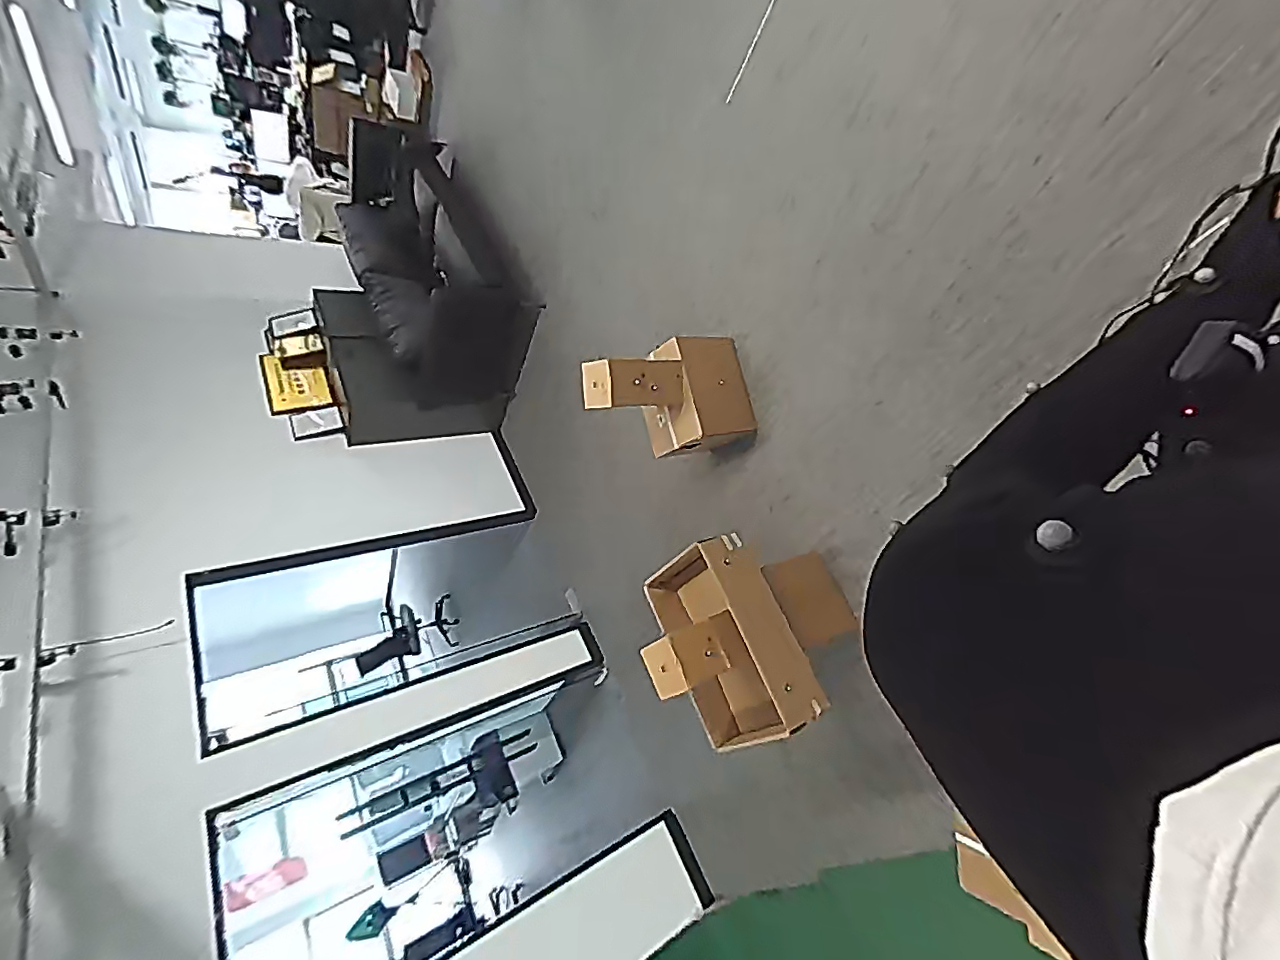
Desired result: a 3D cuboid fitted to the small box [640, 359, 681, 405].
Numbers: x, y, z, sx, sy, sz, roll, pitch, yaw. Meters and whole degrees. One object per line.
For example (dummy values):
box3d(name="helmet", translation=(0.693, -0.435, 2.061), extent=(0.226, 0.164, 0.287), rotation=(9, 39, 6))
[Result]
box3d(name="small box", translation=(0.037, -0.368, 2.042), extent=(0.179, 0.176, 0.168), rotation=(9, 105, 52))

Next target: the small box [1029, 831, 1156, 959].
box3d(name="small box", translation=(0.926, 0.873, 1.108), extent=(0.168, 0.176, 0.179), rotation=(2, 100, 55))

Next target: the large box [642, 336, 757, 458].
box3d(name="large box", translation=(0.221, -0.340, 2.218), extent=(0.320, 0.320, 0.408), rotation=(-25, 79, 54))

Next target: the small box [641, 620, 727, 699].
box3d(name="small box", translation=(0.136, 0.555, 1.672), extent=(0.179, 0.176, 0.168), rotation=(-47, 62, 47))

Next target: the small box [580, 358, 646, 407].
box3d(name="small box", translation=(-0.096, -0.348, 1.944), extent=(0.179, 0.176, 0.168), rotation=(7, 104, 51))
